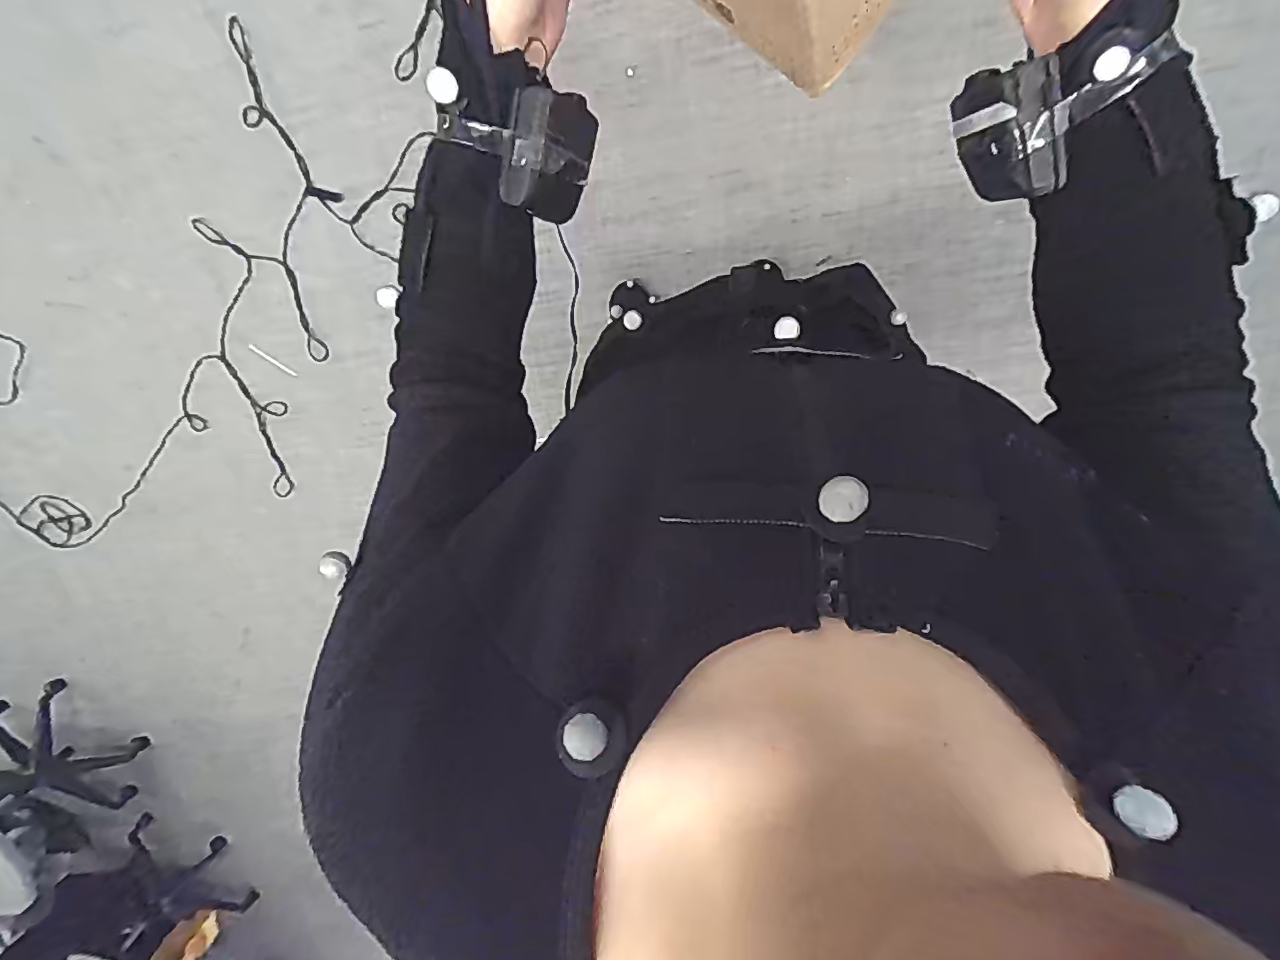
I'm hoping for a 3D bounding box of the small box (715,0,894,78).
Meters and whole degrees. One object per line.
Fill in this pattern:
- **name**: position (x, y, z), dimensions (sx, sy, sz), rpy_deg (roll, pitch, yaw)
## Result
- **small box**: position (0.056, -0.290, 0.180), dimensions (0.168, 0.176, 0.179), rpy_deg (43, 116, 6)
